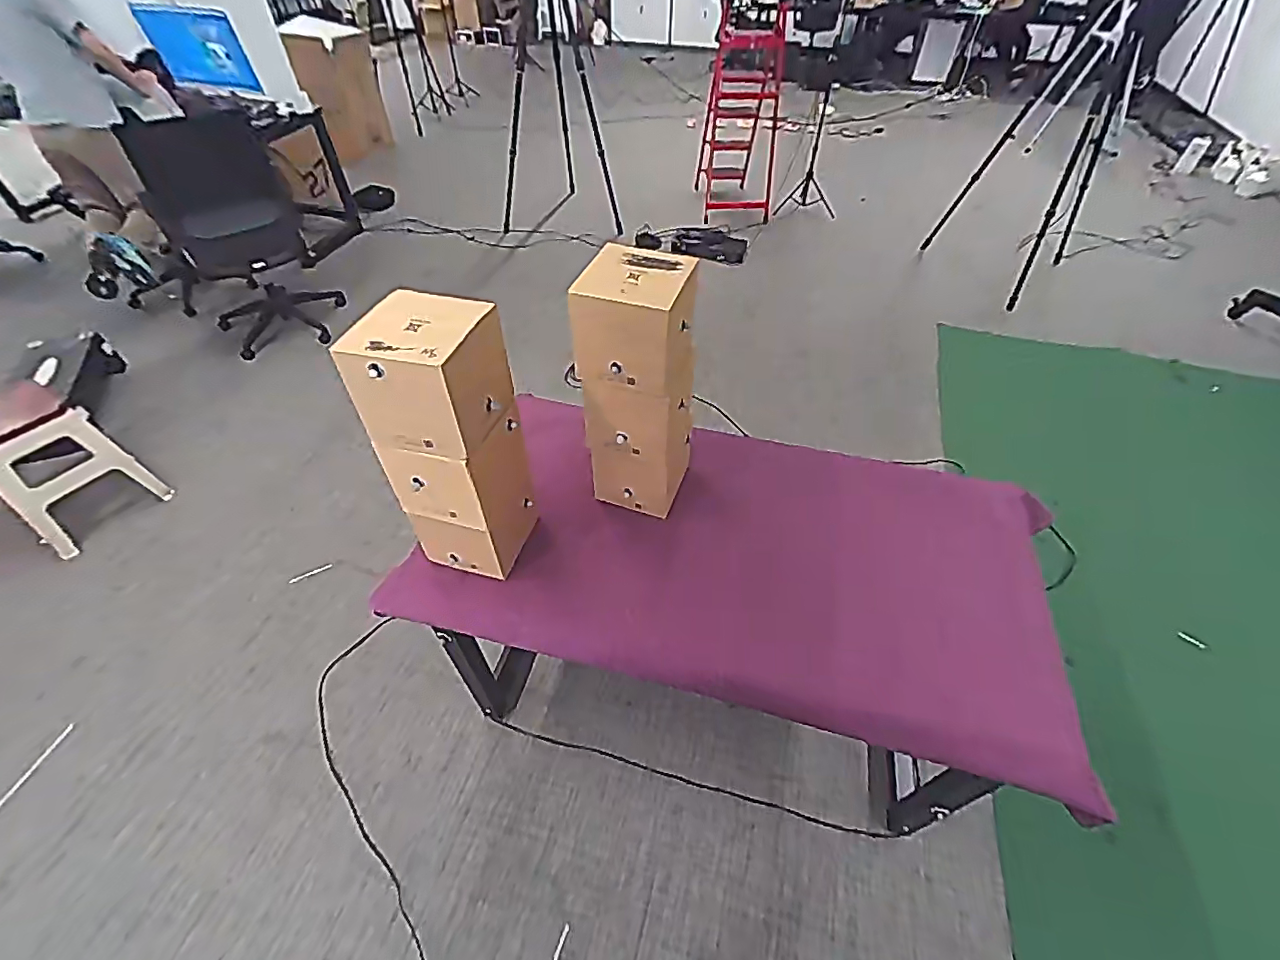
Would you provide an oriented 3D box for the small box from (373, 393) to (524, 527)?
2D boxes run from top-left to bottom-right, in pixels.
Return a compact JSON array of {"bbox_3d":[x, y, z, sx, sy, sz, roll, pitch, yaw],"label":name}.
[{"bbox_3d":[-0.314,-0.045,0.933,0.168,0.176,0.179,12,47,11],"label":"small box"}]

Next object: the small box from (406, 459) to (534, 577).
[{"bbox_3d":[-0.317,0.060,1.057,0.168,0.176,0.179,12,48,10],"label":"small box"}]

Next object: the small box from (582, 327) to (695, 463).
[{"bbox_3d":[0.000,-0.163,1.041,0.168,0.176,0.179,14,50,12],"label":"small box"}]

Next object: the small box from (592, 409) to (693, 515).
[{"bbox_3d":[0.006,-0.056,1.165,0.168,0.176,0.179,16,50,14],"label":"small box"}]

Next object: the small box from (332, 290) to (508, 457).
[{"bbox_3d":[-0.312,-0.162,0.817,0.168,0.176,0.179,10,46,10],"label":"small box"}]
